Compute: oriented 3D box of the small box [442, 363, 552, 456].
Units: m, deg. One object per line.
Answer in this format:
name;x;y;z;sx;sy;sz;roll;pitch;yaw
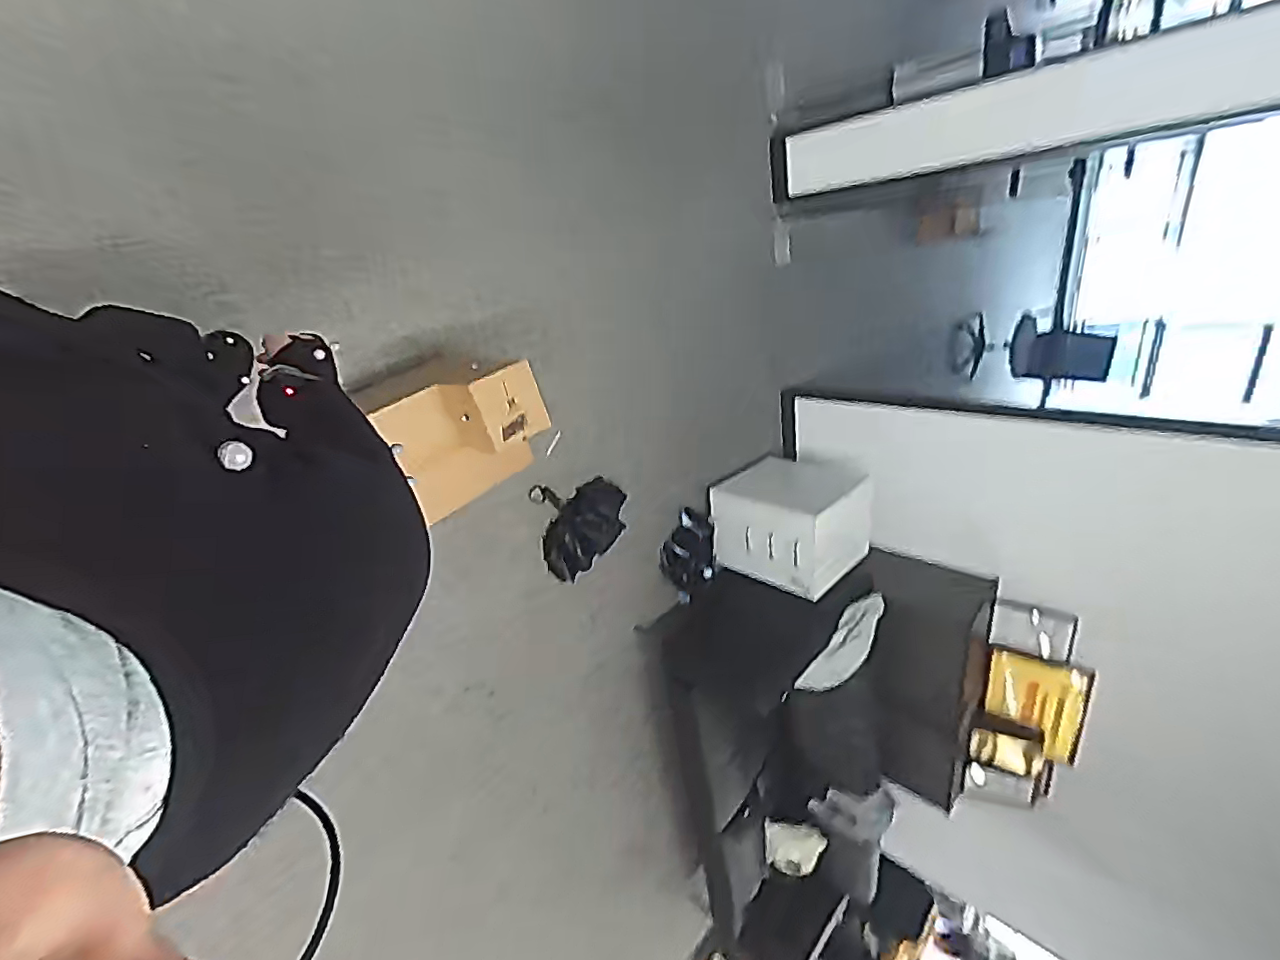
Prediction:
small box;-0.349;-0.177;1.316;0.168;0.176;0.179;-35;120;-34
